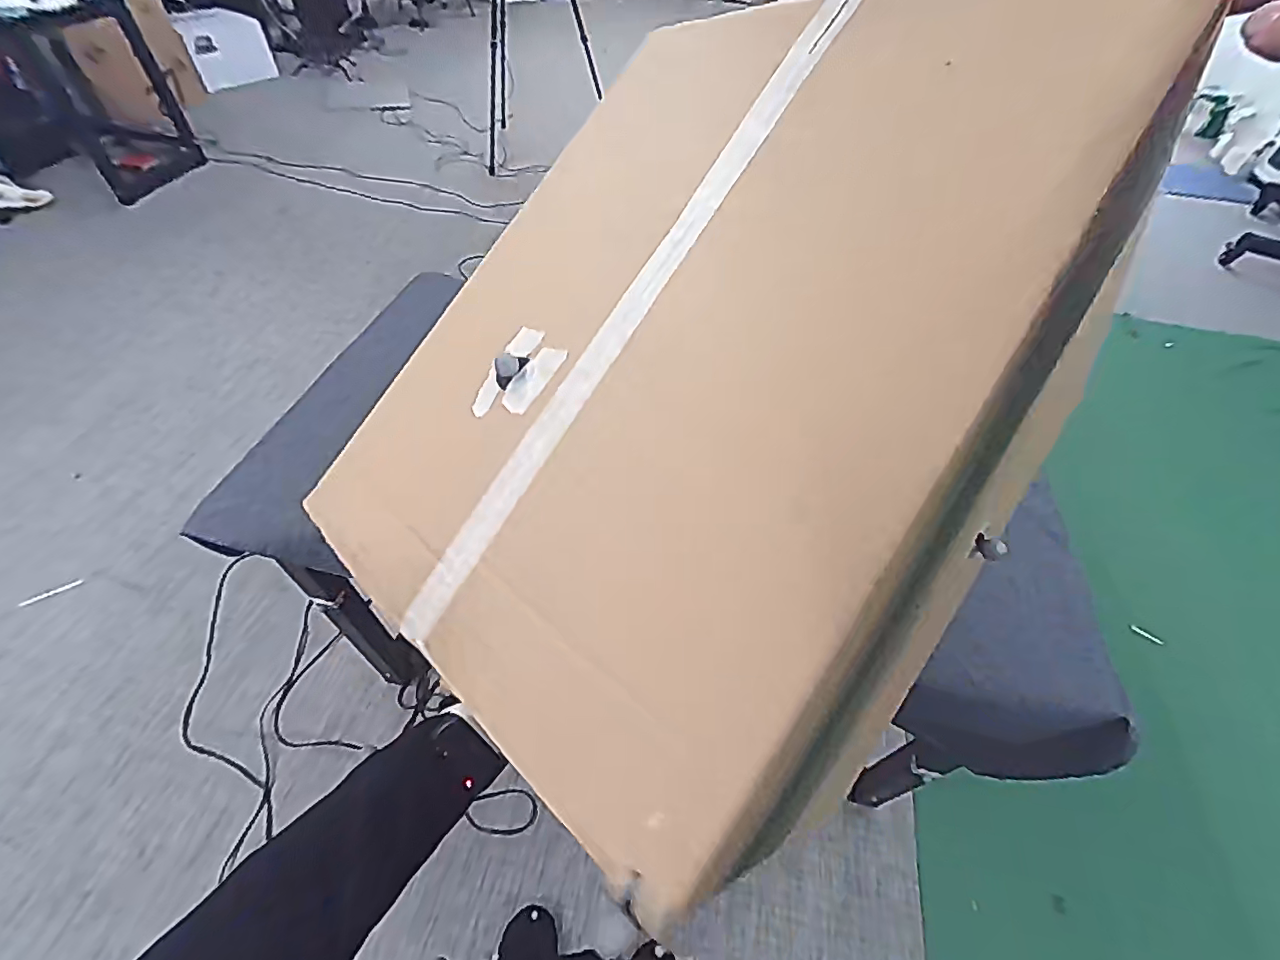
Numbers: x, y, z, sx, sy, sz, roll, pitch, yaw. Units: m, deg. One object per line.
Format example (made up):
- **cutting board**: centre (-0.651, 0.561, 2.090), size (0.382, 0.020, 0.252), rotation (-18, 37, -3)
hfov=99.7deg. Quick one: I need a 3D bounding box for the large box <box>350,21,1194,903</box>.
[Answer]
- **large box**: centre (0.087, -0.027, 0.410), size (0.320, 0.320, 0.408), rotation (28, 84, 36)
